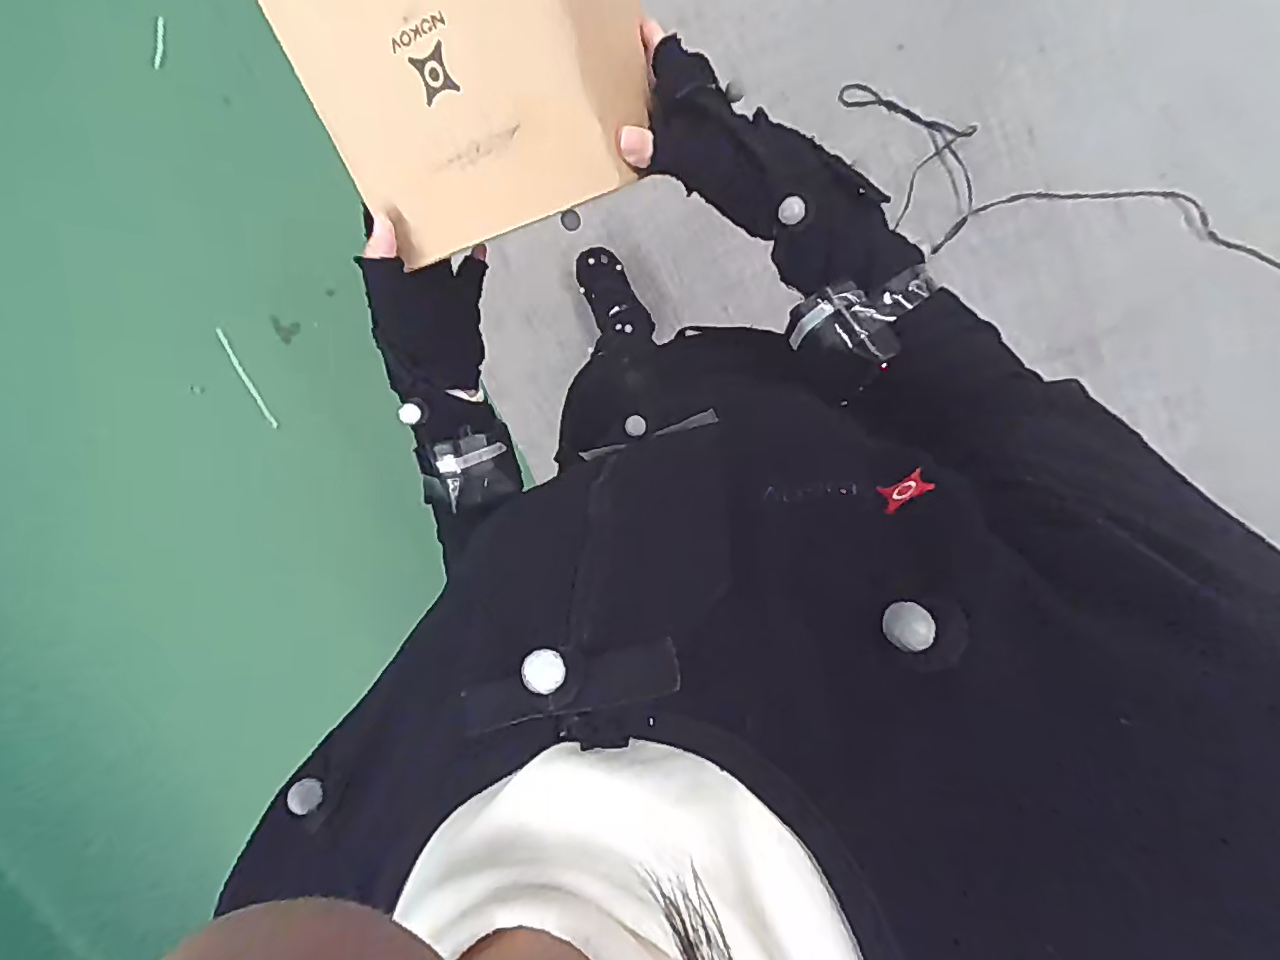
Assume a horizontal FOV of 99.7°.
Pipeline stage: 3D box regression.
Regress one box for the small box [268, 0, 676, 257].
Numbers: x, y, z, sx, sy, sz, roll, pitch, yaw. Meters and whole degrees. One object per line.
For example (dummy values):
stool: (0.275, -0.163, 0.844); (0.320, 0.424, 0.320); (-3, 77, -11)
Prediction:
small box: (-0.090, -0.272, 0.352); (0.168, 0.176, 0.179); (-8, 121, 24)
